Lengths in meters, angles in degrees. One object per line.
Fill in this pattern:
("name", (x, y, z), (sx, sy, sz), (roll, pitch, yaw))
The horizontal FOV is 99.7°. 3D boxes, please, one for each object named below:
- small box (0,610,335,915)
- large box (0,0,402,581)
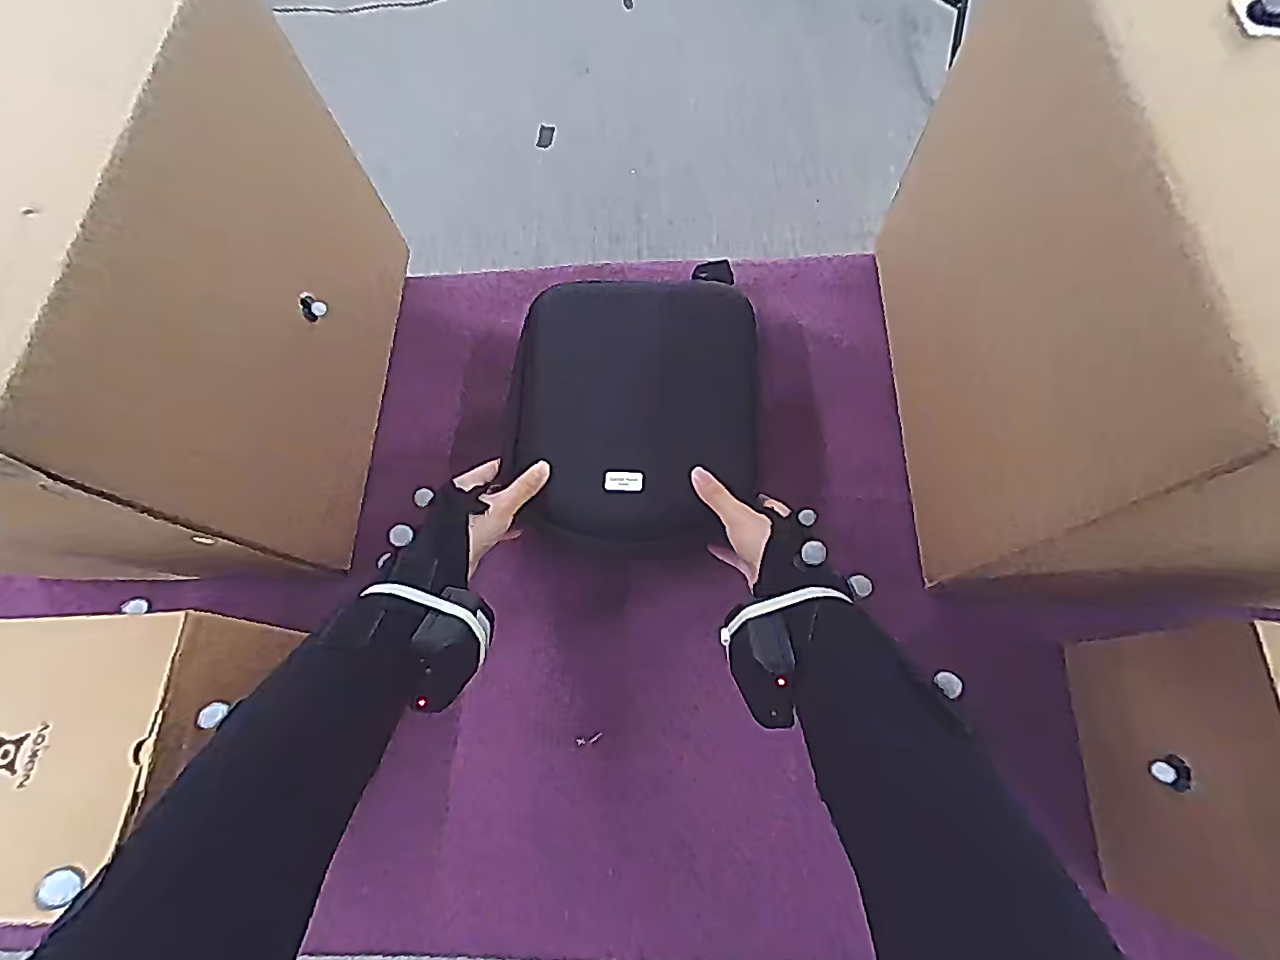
("small box", (-0.371, 0.197, 0.403), (0.179, 0.176, 0.168), (-3, 67, 2))
("large box", (-0.437, -0.139, 0.465), (0.320, 0.320, 0.408), (-2, 70, 2))
